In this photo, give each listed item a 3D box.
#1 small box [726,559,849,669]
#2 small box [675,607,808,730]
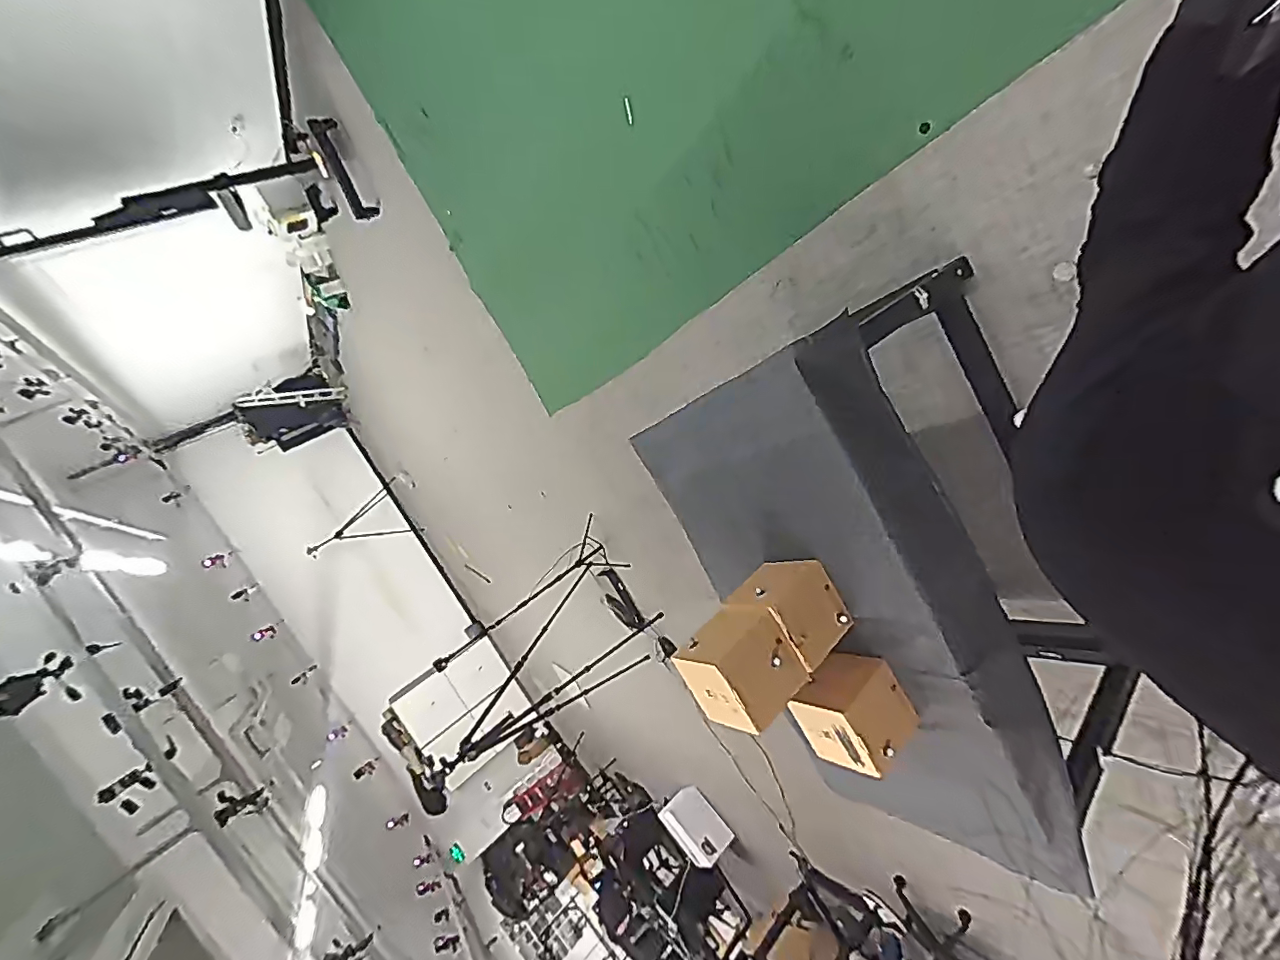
[{"bbox_3d":[0.331,0.288,1.194,0.168,0.176,0.179,59,151,-5],"label":"small box"},{"bbox_3d":[0.212,0.381,1.128,0.168,0.176,0.179,58,150,-4],"label":"small box"}]
